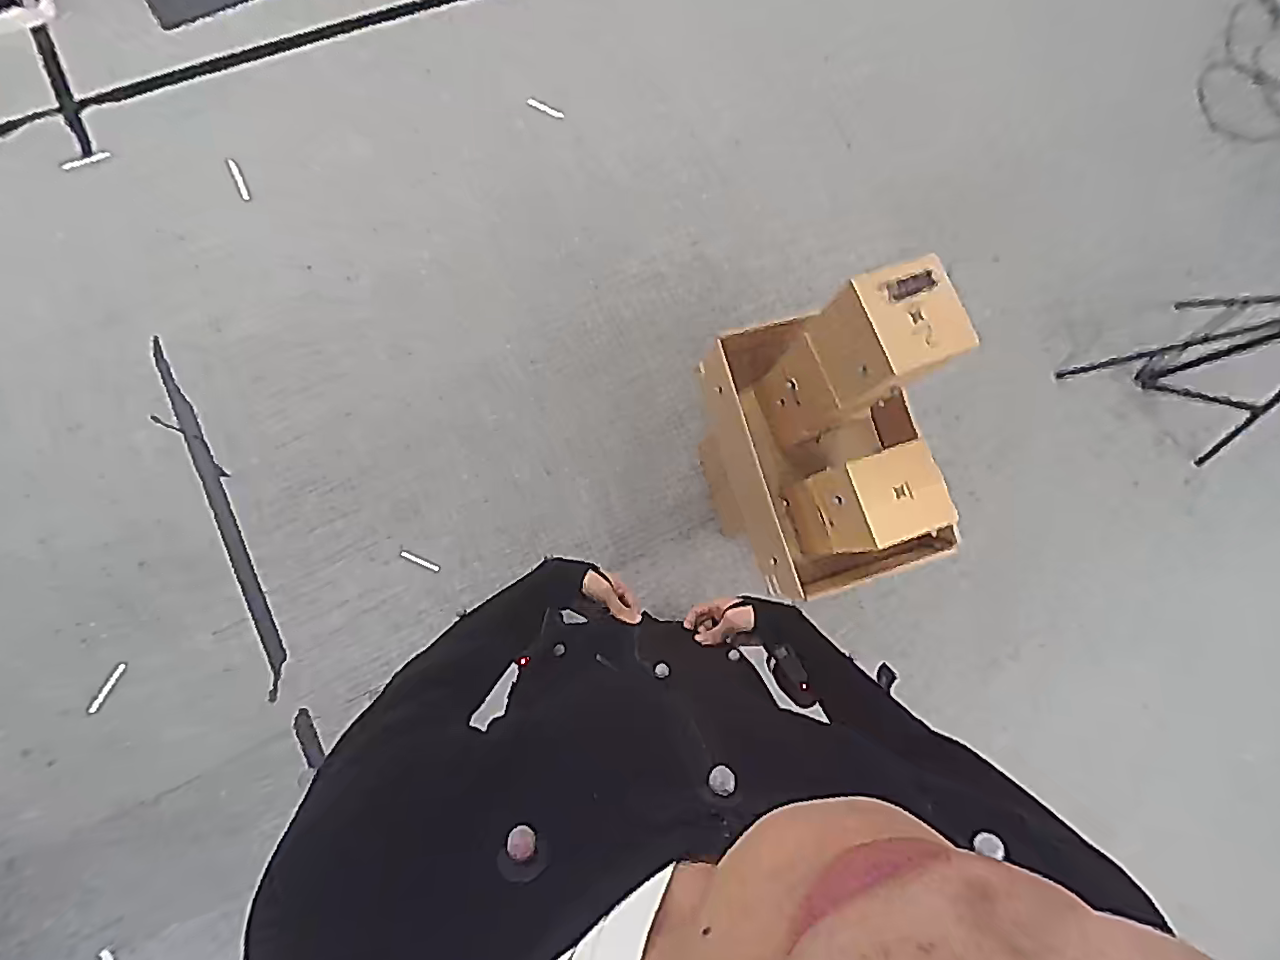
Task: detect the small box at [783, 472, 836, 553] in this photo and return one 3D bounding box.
[{"bbox_3d":[0.445,0.063,1.231,0.179,0.176,0.168,-18,83,-10],"label":"small box"}]

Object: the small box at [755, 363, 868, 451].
[{"bbox_3d":[0.390,-0.185,1.266,0.168,0.176,0.179,-19,84,-9],"label":"small box"}]

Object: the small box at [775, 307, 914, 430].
[{"bbox_3d":[0.408,-0.221,1.107,0.179,0.176,0.168,-21,82,-10],"label":"small box"}]

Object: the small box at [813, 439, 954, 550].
[{"bbox_3d":[0.466,0.036,1.072,0.179,0.176,0.168,-18,83,-10],"label":"small box"}]
